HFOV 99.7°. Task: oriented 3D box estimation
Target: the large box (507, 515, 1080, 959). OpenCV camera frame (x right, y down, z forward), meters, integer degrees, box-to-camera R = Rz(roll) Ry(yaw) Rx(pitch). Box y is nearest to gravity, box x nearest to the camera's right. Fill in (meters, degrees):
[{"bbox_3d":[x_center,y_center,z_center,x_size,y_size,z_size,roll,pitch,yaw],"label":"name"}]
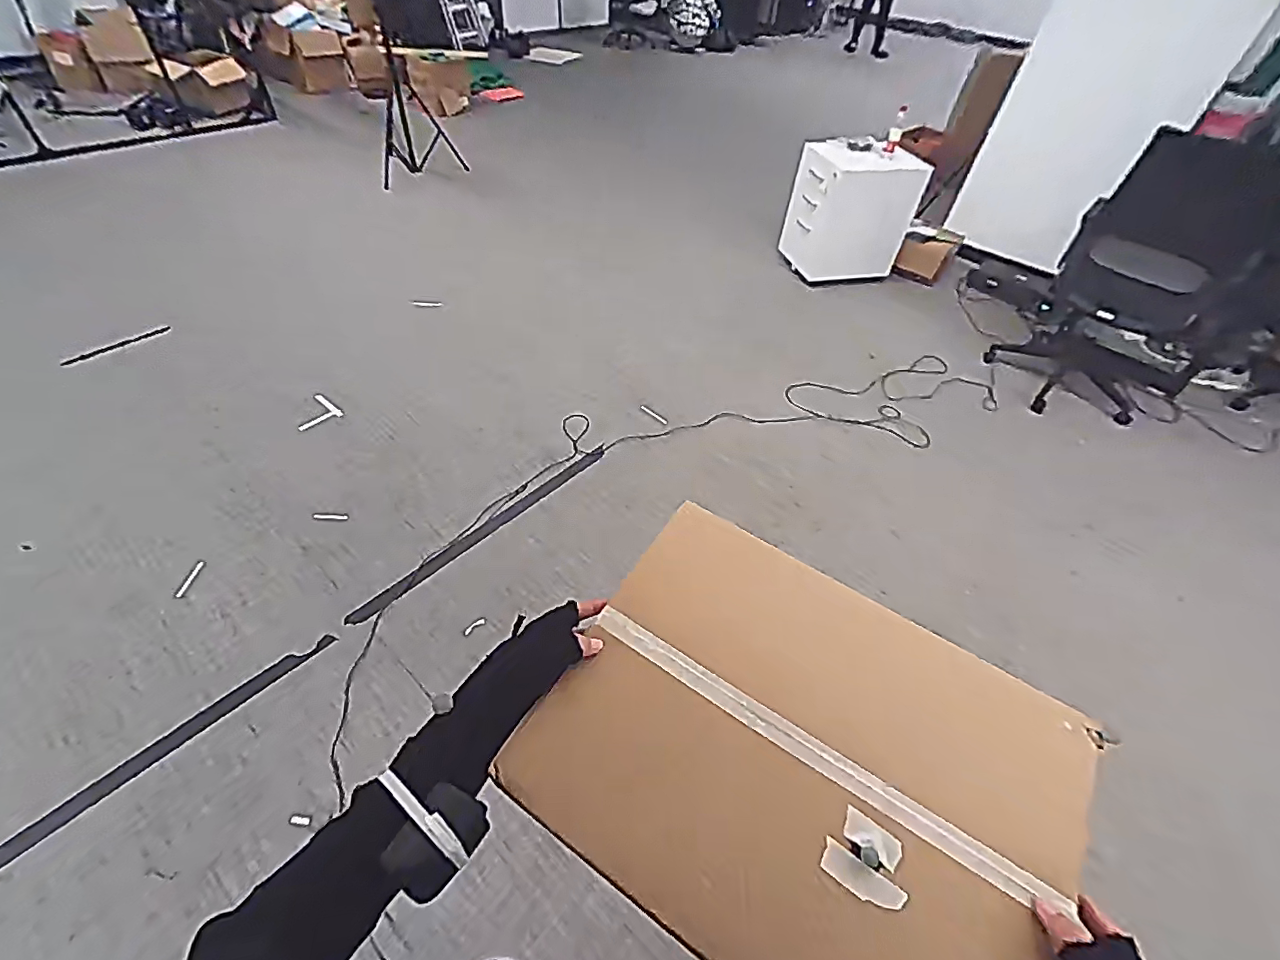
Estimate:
[{"bbox_3d":[0.130,0.311,0.571,0.408,0.320,0.320,29,58,18],"label":"large box"}]
